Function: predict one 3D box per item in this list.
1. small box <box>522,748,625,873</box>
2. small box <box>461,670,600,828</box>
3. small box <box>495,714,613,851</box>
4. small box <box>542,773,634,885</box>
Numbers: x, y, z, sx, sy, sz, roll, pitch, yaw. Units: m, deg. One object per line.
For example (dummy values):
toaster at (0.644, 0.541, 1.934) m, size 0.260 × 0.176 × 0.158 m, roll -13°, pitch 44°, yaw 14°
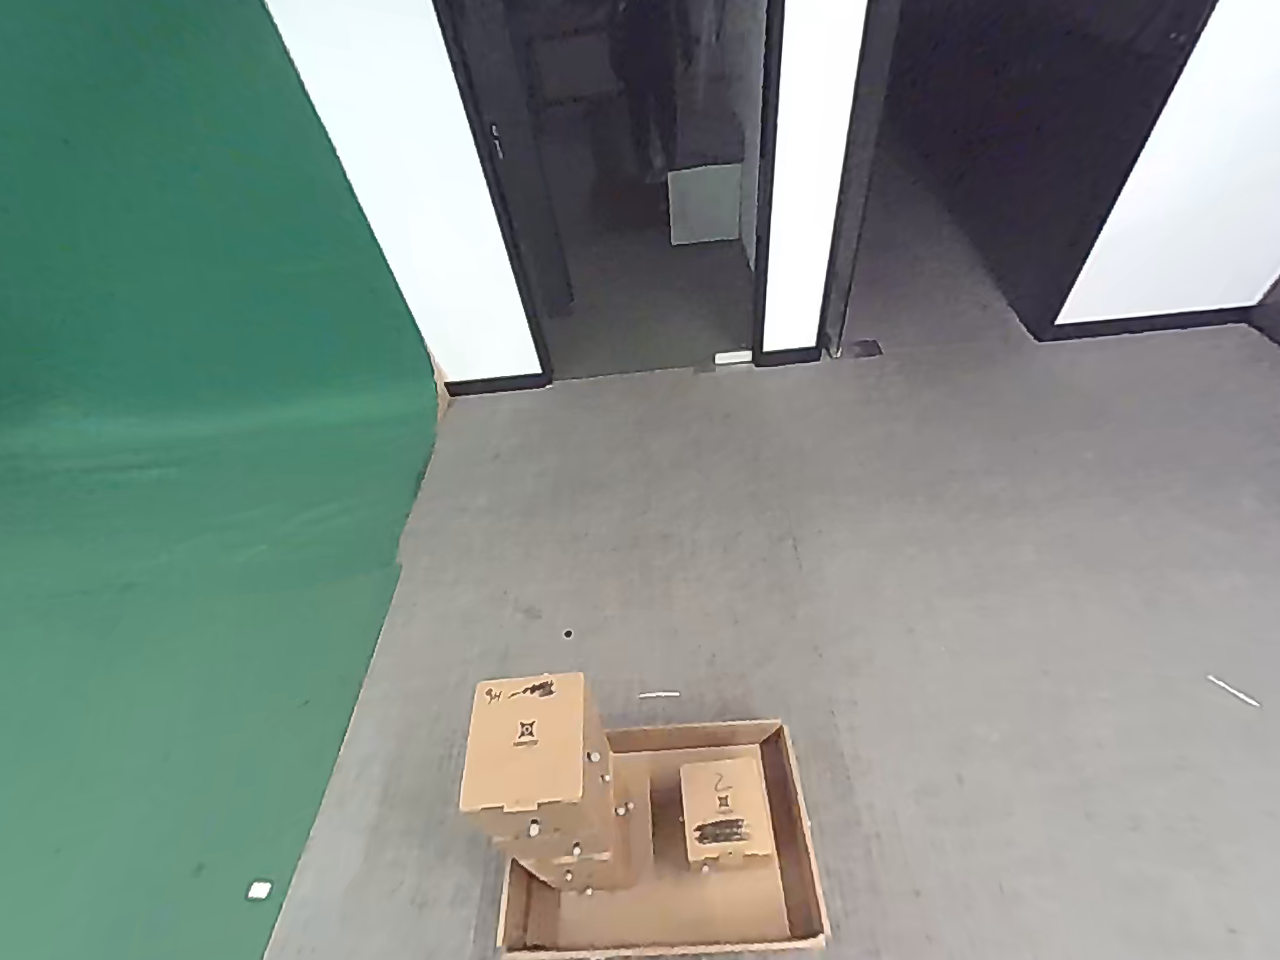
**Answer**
small box at (-0.119, 0.638, 1.044) m, size 0.168 × 0.176 × 0.179 m, roll -4°, pitch 47°, yaw 3°
small box at (-0.151, 0.409, 0.813) m, size 0.168 × 0.176 × 0.179 m, roll -5°, pitch 48°, yaw 1°
small box at (-0.137, 0.523, 0.929) m, size 0.168 × 0.176 × 0.179 m, roll -5°, pitch 46°, yaw 1°
small box at (-0.104, 0.751, 1.161) m, size 0.168 × 0.176 × 0.179 m, roll -4°, pitch 47°, yaw 4°
